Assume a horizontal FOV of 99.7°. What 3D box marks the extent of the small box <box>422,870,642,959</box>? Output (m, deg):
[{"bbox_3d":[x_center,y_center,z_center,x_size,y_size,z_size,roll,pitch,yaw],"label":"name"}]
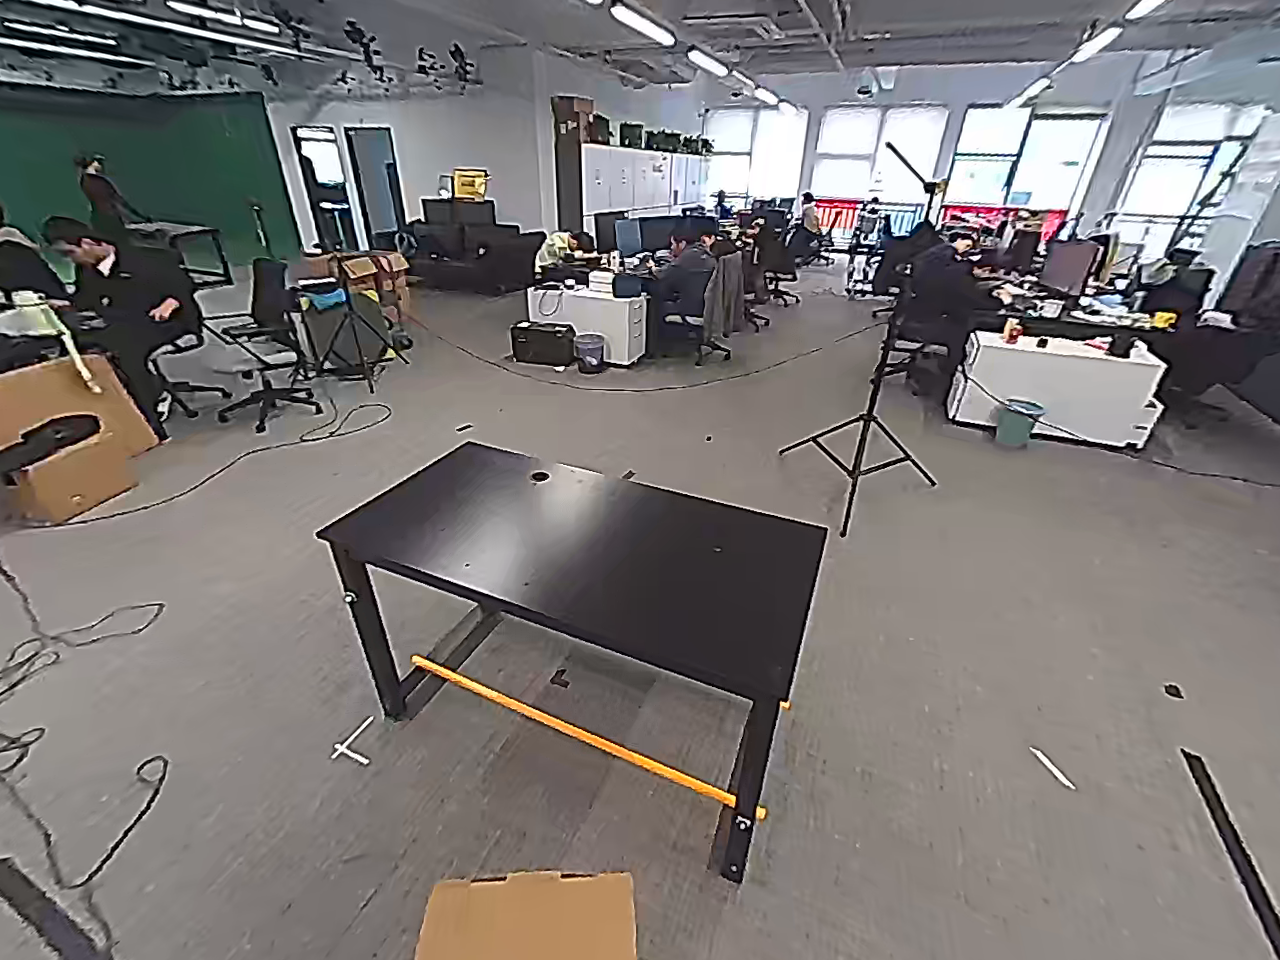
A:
[{"bbox_3d":[-0.085,0.440,0.420,0.168,0.176,0.179,1,33,-5],"label":"small box"}]
